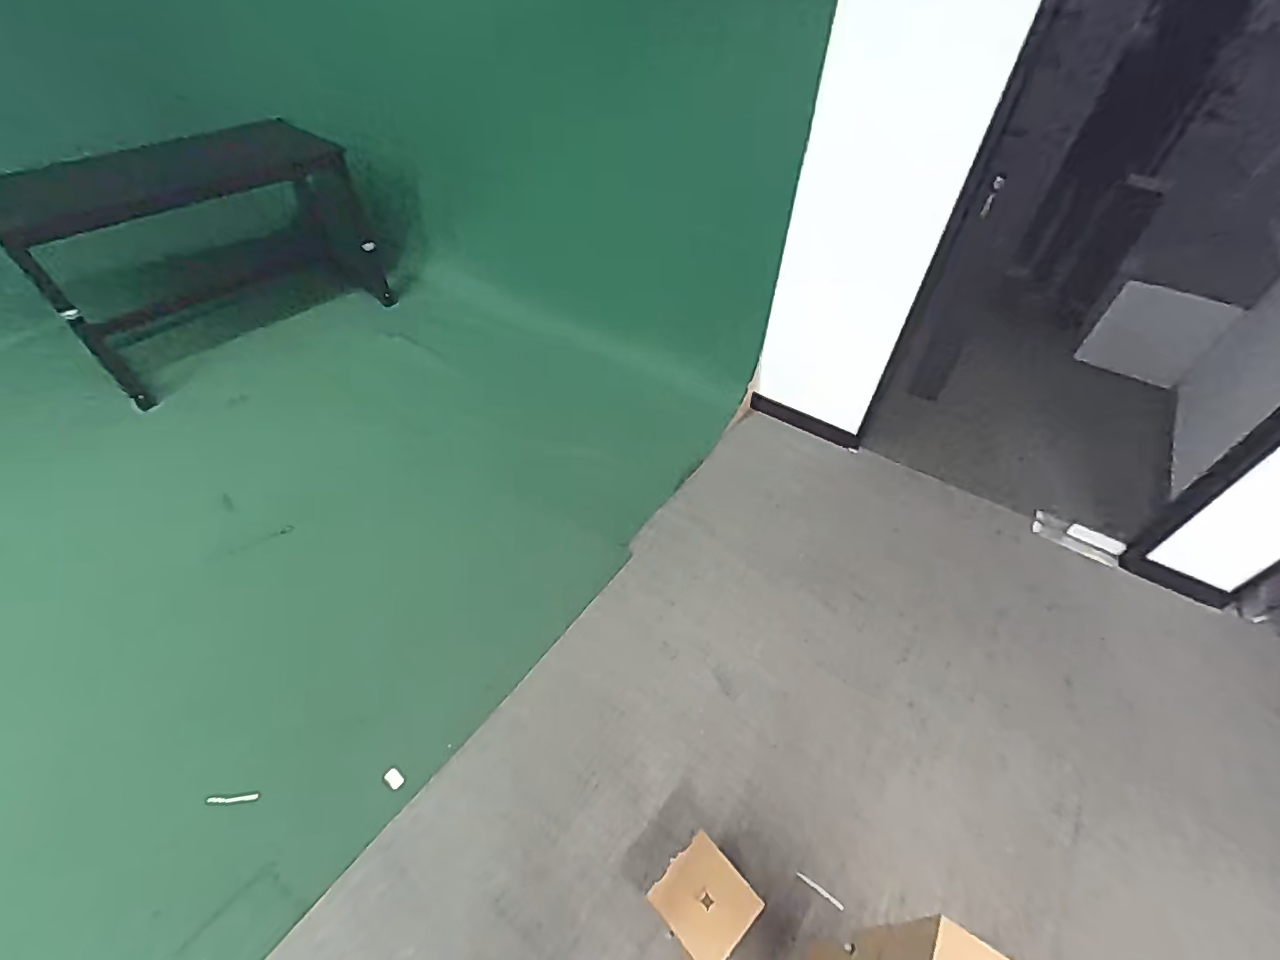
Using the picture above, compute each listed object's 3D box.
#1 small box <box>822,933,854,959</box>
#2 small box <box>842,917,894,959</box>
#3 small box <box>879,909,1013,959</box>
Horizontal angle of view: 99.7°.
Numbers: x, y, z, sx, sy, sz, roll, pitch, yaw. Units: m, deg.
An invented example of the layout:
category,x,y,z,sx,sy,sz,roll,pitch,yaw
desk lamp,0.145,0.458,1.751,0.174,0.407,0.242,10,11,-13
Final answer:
category,x,y,z,sx,sy,sz,roll,pitch,yaw
small box,0.379,0.901,0.890,0.168,0.176,0.179,28,53,21
small box,0.380,0.782,0.775,0.179,0.176,0.168,28,52,21
small box,0.386,0.672,0.653,0.168,0.176,0.179,27,52,22
